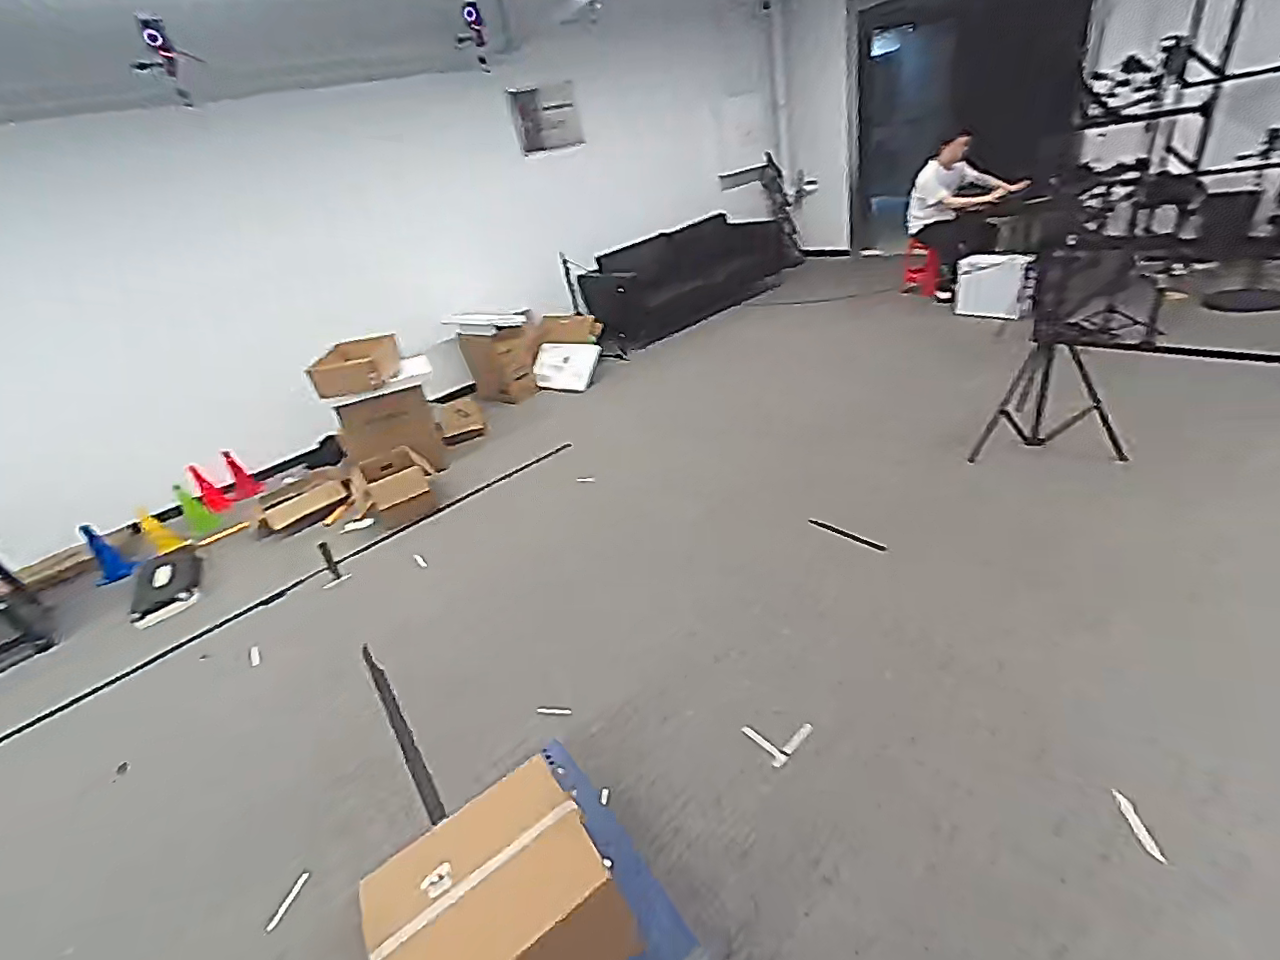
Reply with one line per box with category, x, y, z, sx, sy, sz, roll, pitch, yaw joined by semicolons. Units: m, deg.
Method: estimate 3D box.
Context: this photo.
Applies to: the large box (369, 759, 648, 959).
large box;-0.252;0.882;1.088;0.408;0.320;0.320;-29;32;-23
